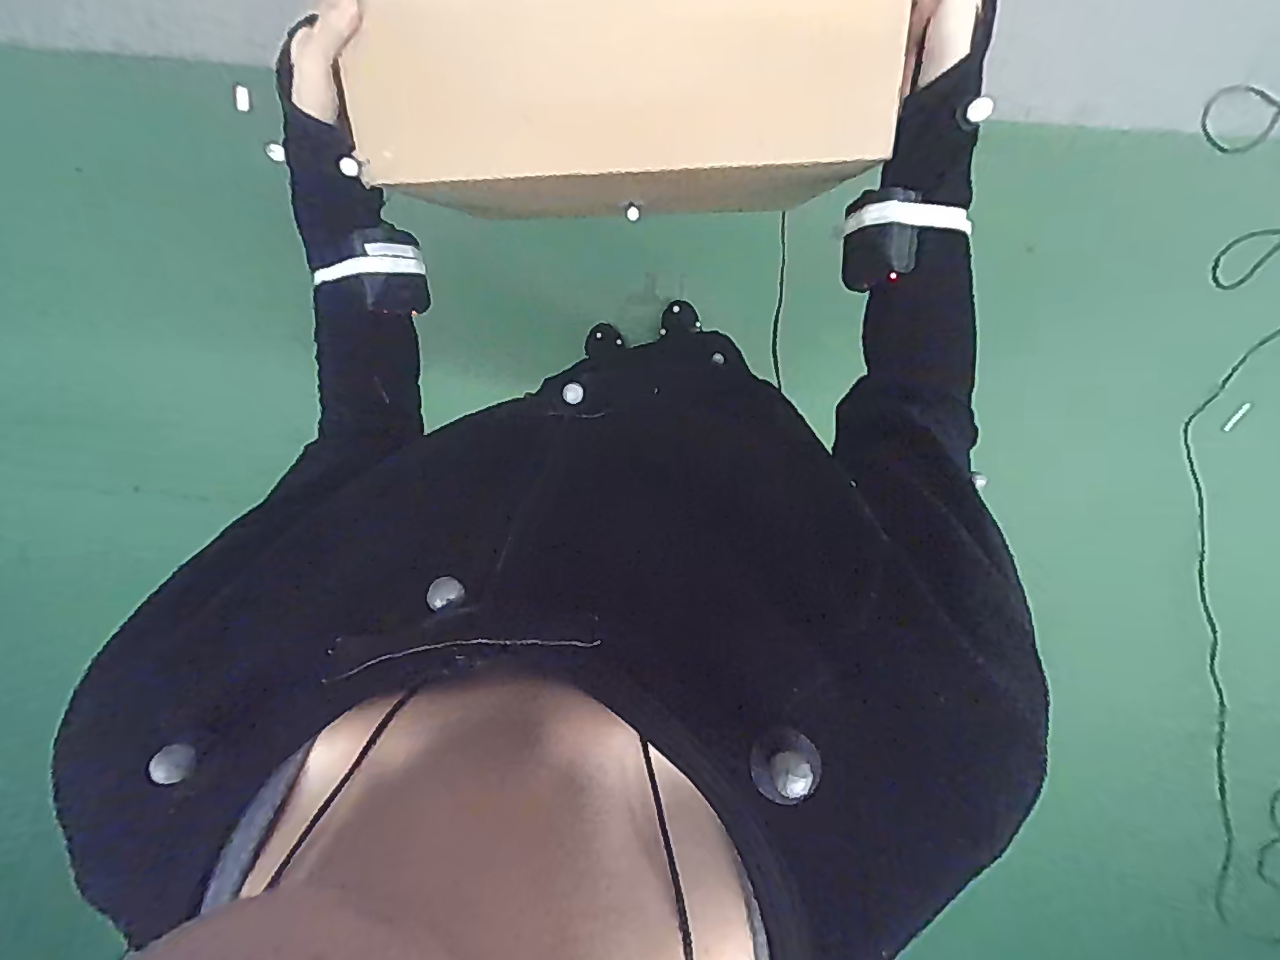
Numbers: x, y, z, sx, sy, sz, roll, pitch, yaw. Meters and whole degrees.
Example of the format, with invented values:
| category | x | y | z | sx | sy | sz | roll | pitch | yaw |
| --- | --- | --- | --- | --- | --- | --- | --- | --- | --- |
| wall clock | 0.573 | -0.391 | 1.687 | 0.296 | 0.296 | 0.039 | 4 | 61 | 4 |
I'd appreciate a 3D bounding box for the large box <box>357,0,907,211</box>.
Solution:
| category | x | y | z | sx | sy | sz | roll | pitch | yaw |
| --- | --- | --- | --- | --- | --- | --- | --- | --- | --- |
| large box | -0.002 | -0.443 | 0.509 | 0.408 | 0.320 | 0.320 | -1 | 110 | 3 |
